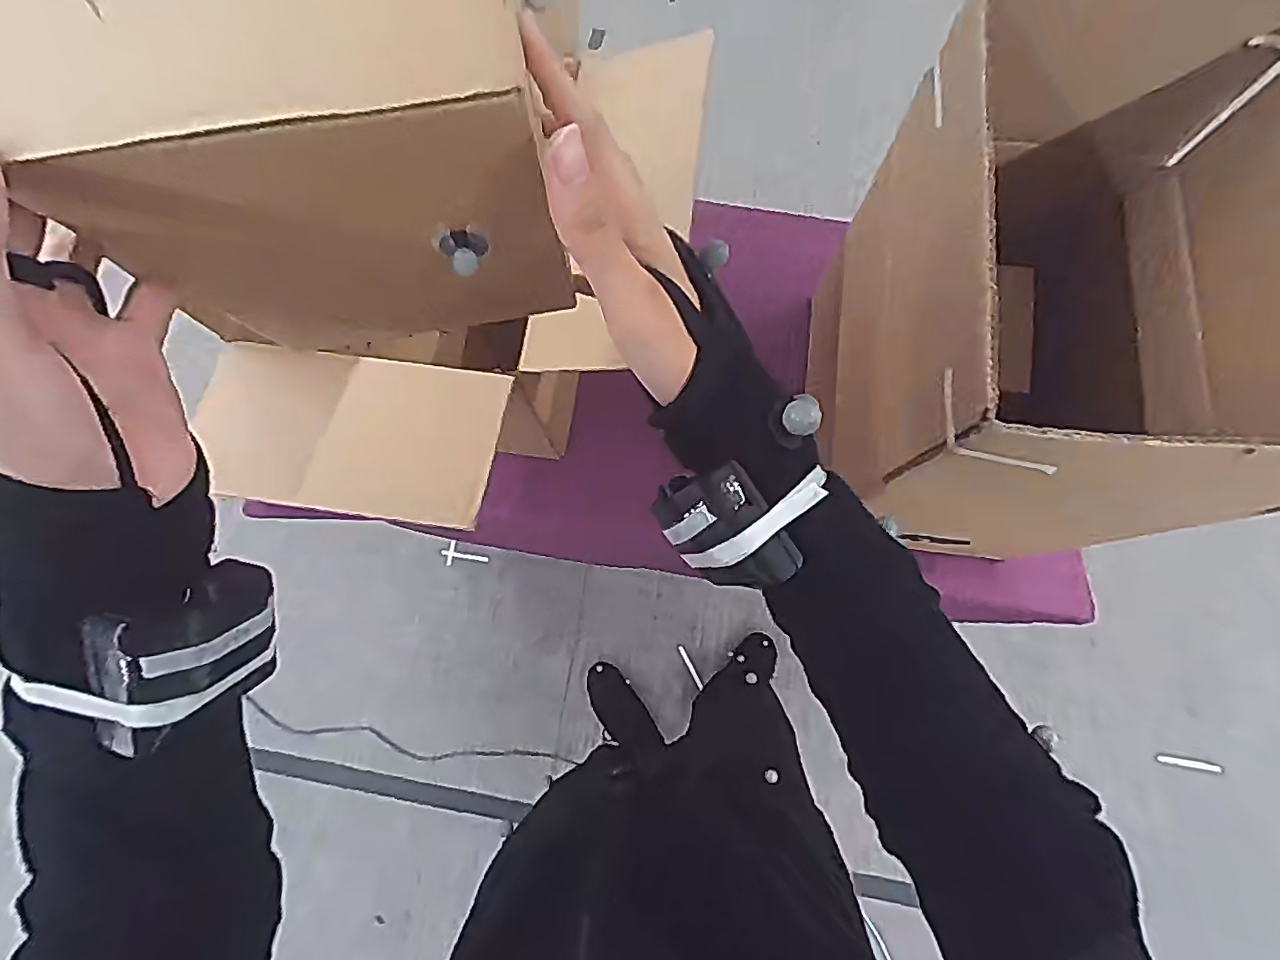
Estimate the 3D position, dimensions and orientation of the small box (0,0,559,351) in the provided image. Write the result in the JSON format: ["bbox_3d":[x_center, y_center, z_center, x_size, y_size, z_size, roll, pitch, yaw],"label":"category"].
[{"bbox_3d":[-0.140,-0.179,0.270,0.179,0.176,0.168,-9,83,-1],"label":"small box"}]
